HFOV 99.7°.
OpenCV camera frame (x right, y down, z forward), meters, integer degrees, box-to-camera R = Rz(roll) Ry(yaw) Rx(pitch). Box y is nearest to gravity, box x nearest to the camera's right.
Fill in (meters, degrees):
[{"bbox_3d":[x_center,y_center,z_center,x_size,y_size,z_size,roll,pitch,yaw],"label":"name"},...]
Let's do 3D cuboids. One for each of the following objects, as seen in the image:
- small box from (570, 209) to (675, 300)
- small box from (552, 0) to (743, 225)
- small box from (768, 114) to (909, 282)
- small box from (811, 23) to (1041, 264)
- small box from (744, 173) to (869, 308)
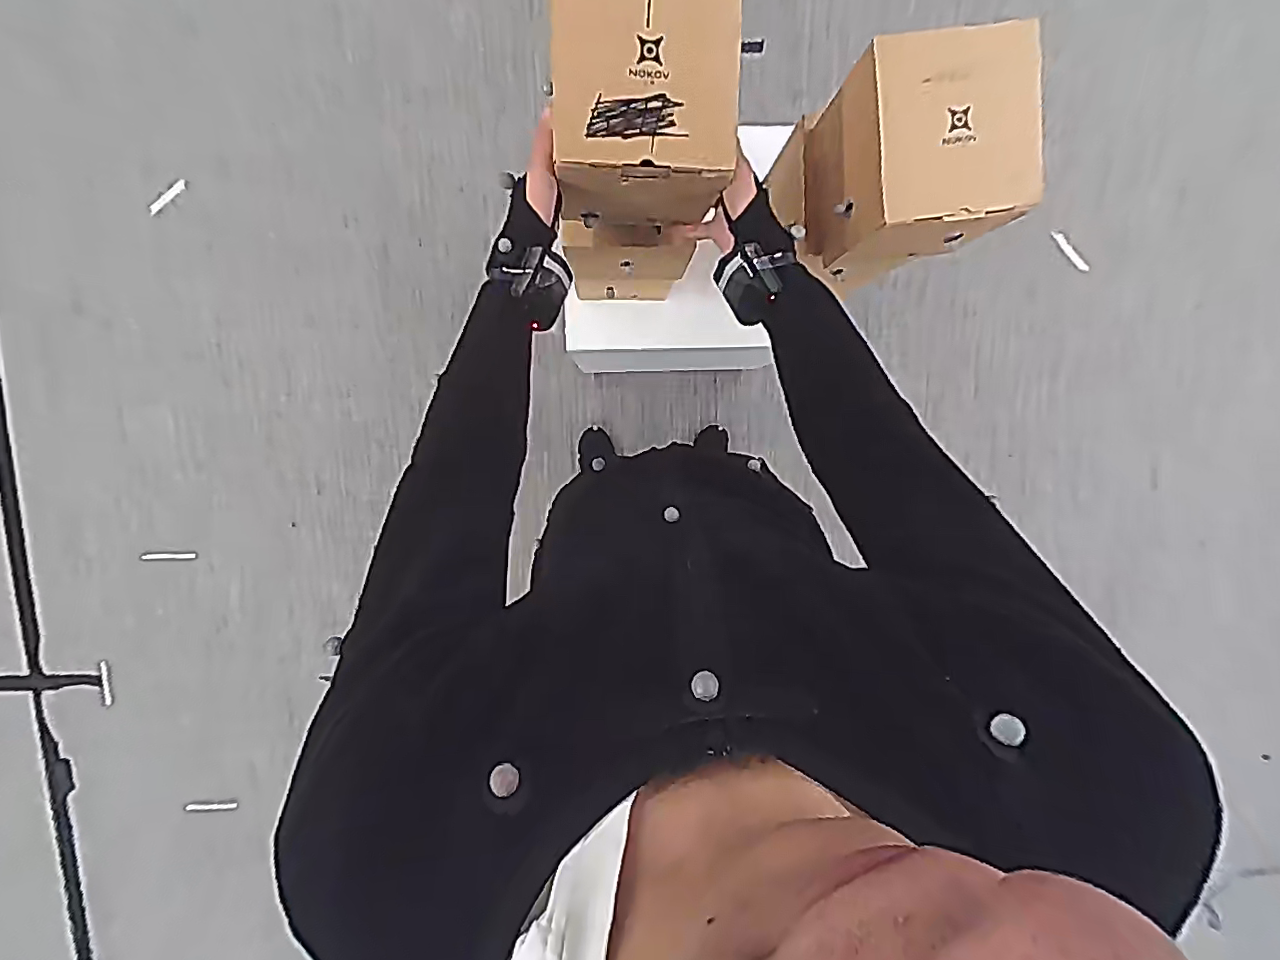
[{"bbox_3d":[-0.030,-0.410,0.918,0.168,0.176,0.179,-1,96,-3],"label":"small box"},{"bbox_3d":[-0.001,-0.374,0.548,0.168,0.176,0.179,0,99,-6],"label":"small box"},{"bbox_3d":[0.285,-0.386,0.769,0.168,0.176,0.179,-3,97,-2],"label":"small box"},{"bbox_3d":[0.307,-0.355,0.608,0.168,0.176,0.179,-8,97,-2],"label":"small box"},{"bbox_3d":[0.278,-0.406,0.932,0.168,0.176,0.179,-4,97,-1],"label":"small box"}]
